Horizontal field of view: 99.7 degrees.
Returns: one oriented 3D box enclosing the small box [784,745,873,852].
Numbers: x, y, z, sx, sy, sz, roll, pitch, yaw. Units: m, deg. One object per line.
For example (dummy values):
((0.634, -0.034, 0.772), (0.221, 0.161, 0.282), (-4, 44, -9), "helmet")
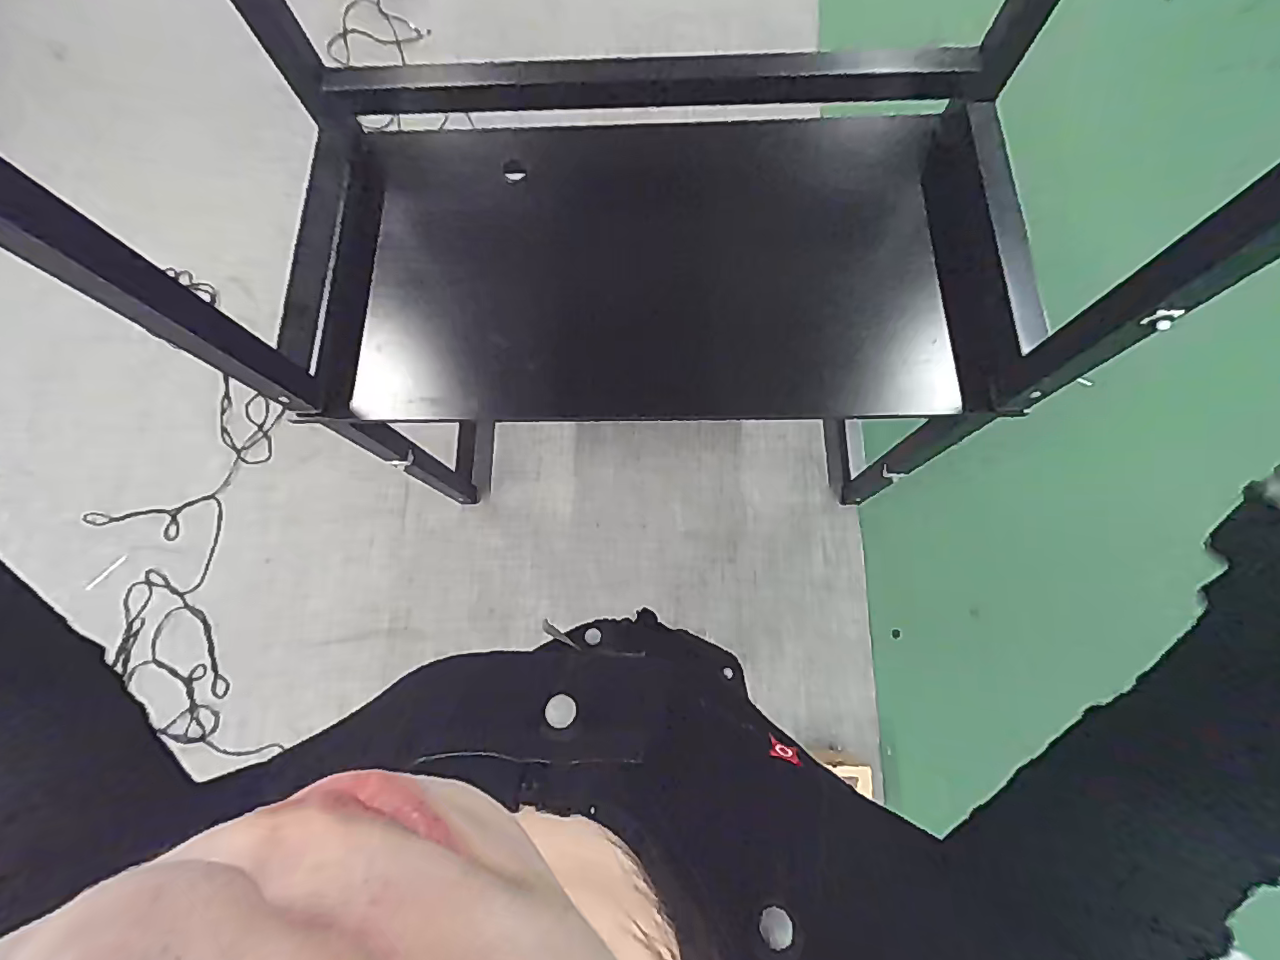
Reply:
((0.443, 0.751, 1.293), (0.168, 0.176, 0.179), (3, 77, 4), "small box")
